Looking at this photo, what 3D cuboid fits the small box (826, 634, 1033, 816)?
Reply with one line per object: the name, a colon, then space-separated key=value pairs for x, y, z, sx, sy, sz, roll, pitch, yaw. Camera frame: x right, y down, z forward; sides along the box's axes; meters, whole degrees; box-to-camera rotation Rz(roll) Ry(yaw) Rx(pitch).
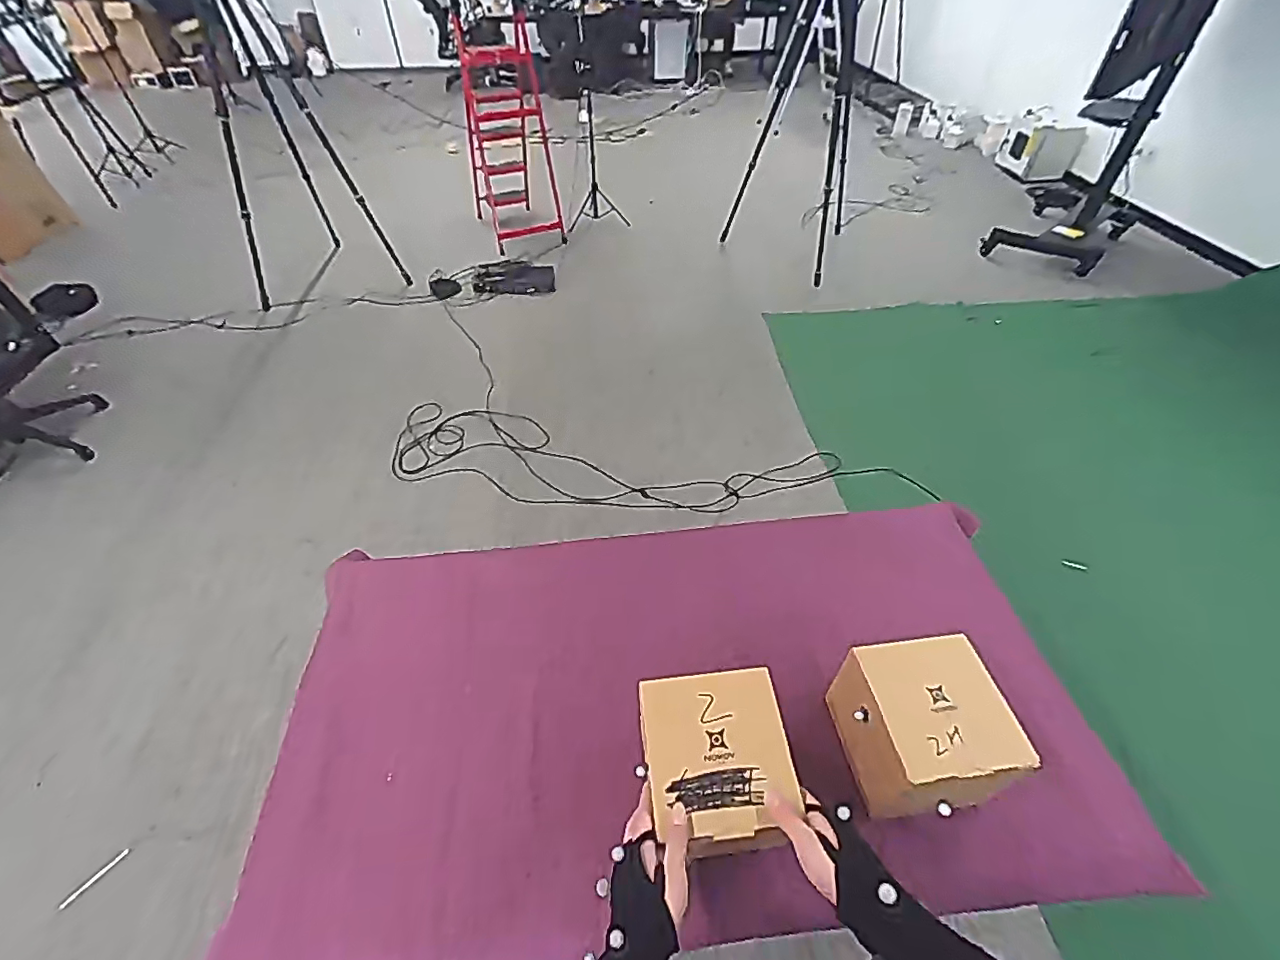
small box: x=0.379 y=0.339 z=0.752 sx=0.168 sy=0.176 sz=0.179 roll=-5 pitch=46 yaw=-4
